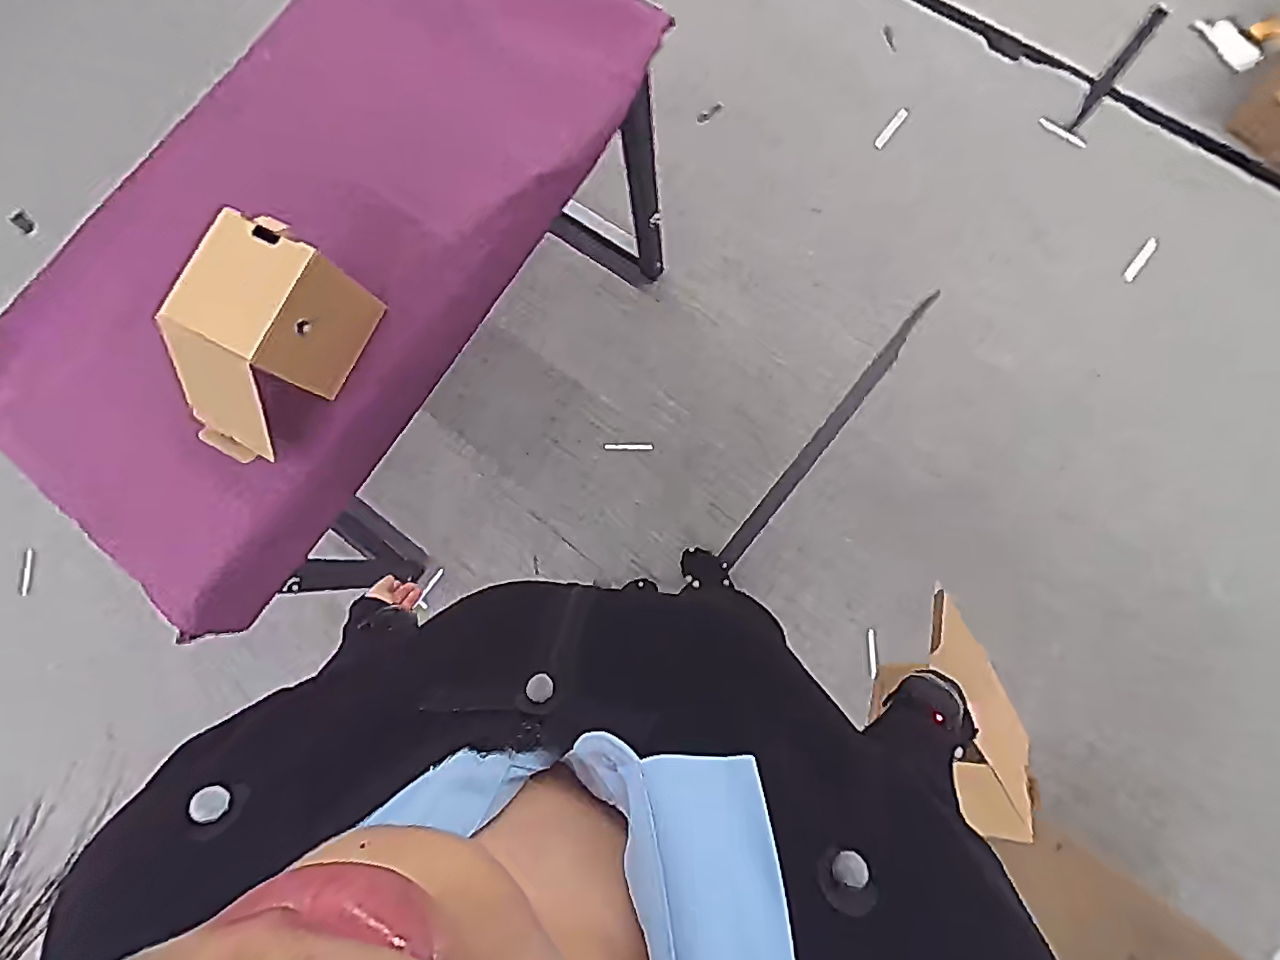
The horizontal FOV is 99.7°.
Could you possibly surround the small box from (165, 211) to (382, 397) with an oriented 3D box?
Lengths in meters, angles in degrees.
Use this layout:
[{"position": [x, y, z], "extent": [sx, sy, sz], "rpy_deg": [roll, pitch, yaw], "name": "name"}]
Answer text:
[{"position": [-0.525, -0.247, 0.803], "extent": [0.168, 0.176, 0.179], "rpy_deg": [27, 84, 9], "name": "small box"}]
